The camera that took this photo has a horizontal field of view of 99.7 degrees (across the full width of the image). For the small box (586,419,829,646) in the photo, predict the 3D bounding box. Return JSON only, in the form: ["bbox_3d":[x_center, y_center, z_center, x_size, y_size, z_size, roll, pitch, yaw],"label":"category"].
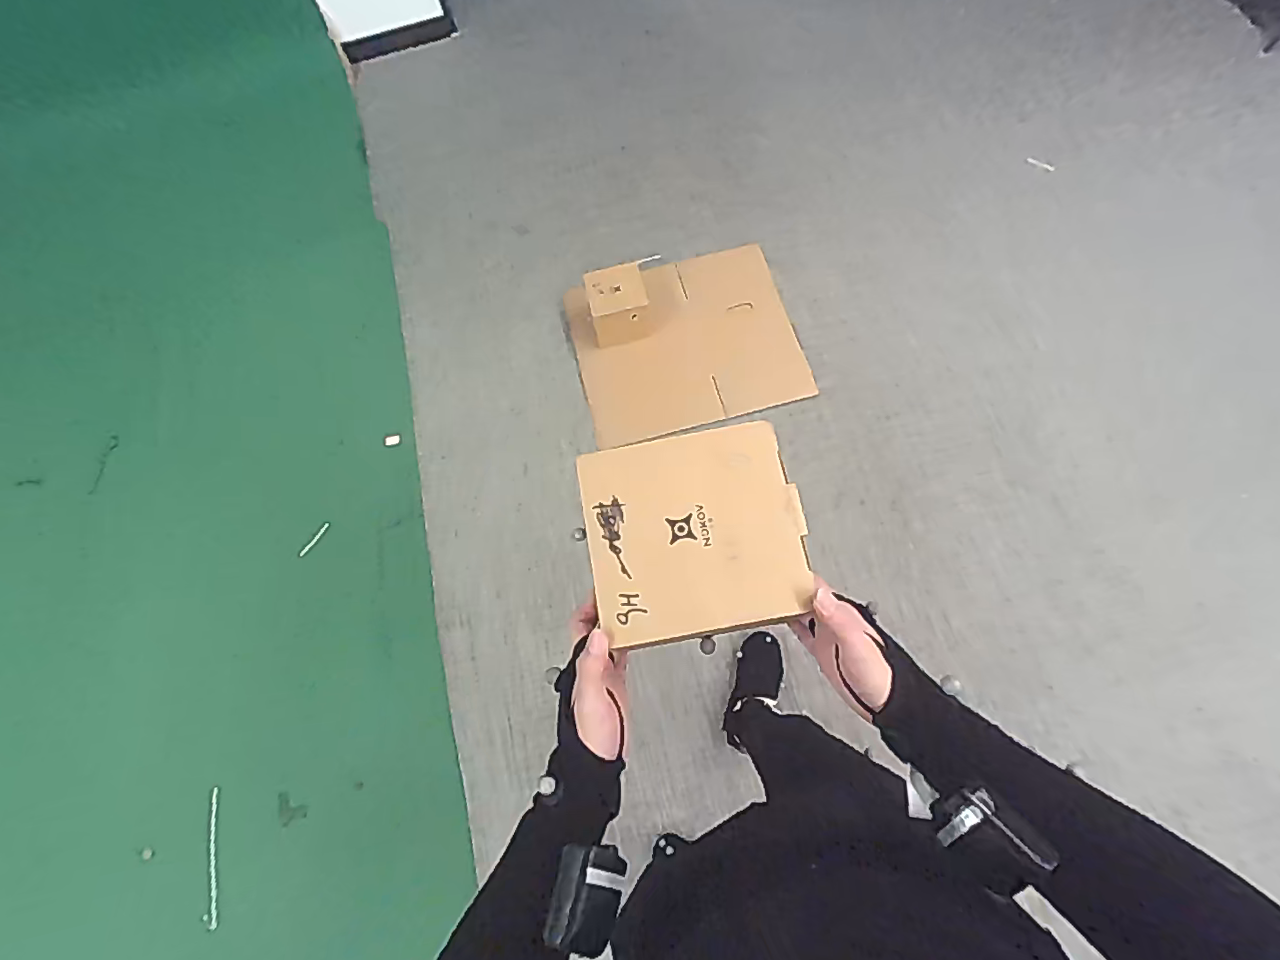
[{"bbox_3d":[0.054,0.061,0.519,0.179,0.176,0.168,-10,71,0],"label":"small box"}]

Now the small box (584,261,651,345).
[{"bbox_3d":[-0.065,-0.552,1.699,0.179,0.176,0.168,-13,70,1],"label":"small box"}]
